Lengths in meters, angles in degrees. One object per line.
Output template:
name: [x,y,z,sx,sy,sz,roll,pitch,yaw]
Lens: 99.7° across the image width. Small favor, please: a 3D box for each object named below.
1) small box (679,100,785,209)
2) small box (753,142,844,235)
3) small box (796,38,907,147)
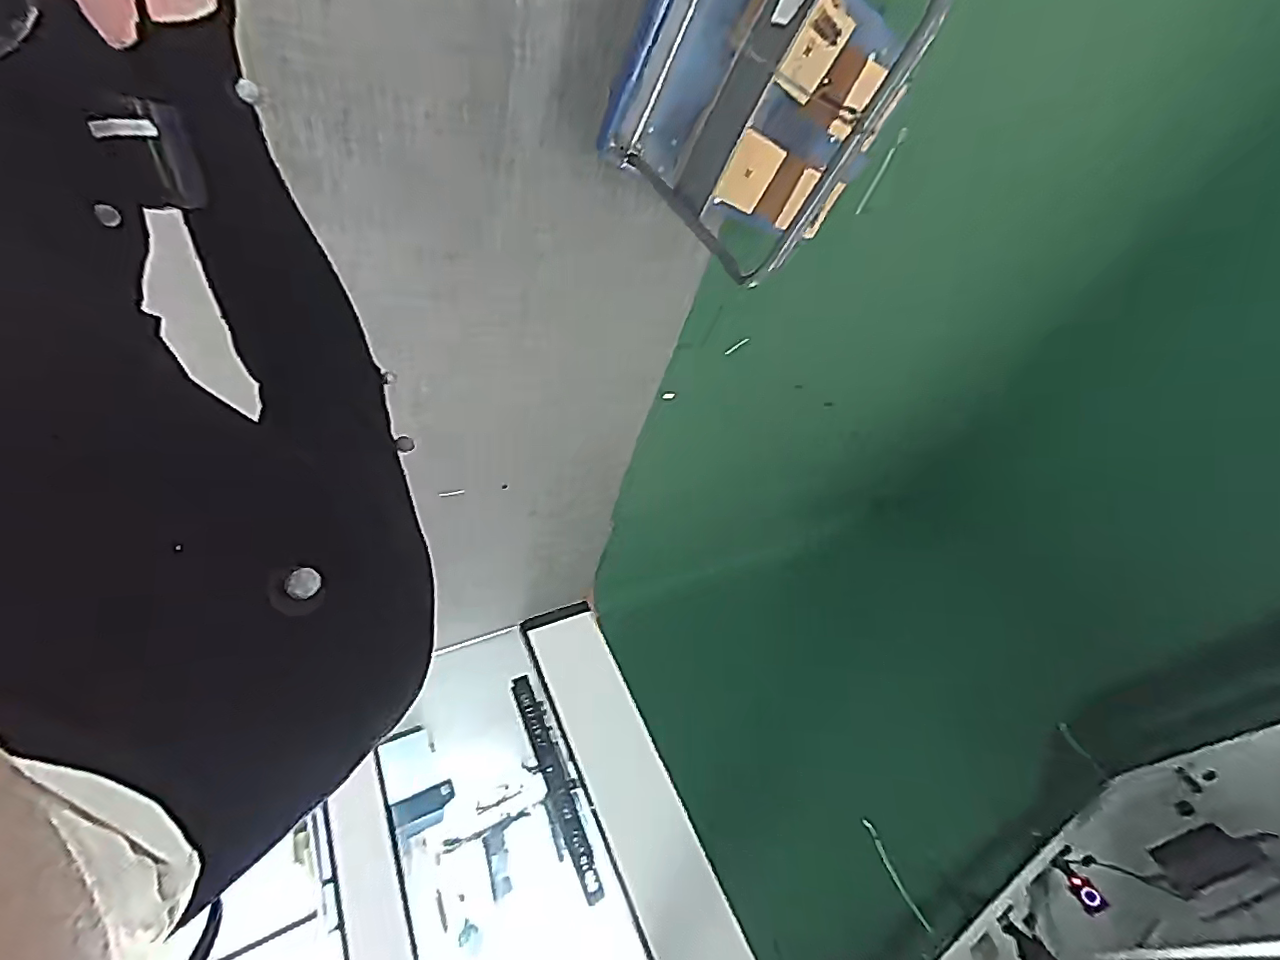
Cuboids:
small box: [0.235,-0.848,1.409,0.179,0.176,0.168,0,137,-39]
small box: [0.446,-0.850,1.578,0.179,0.176,0.168,-3,138,-36]
small box: [0.547,-1.021,1.422,0.179,0.176,0.168,-4,141,-36]
